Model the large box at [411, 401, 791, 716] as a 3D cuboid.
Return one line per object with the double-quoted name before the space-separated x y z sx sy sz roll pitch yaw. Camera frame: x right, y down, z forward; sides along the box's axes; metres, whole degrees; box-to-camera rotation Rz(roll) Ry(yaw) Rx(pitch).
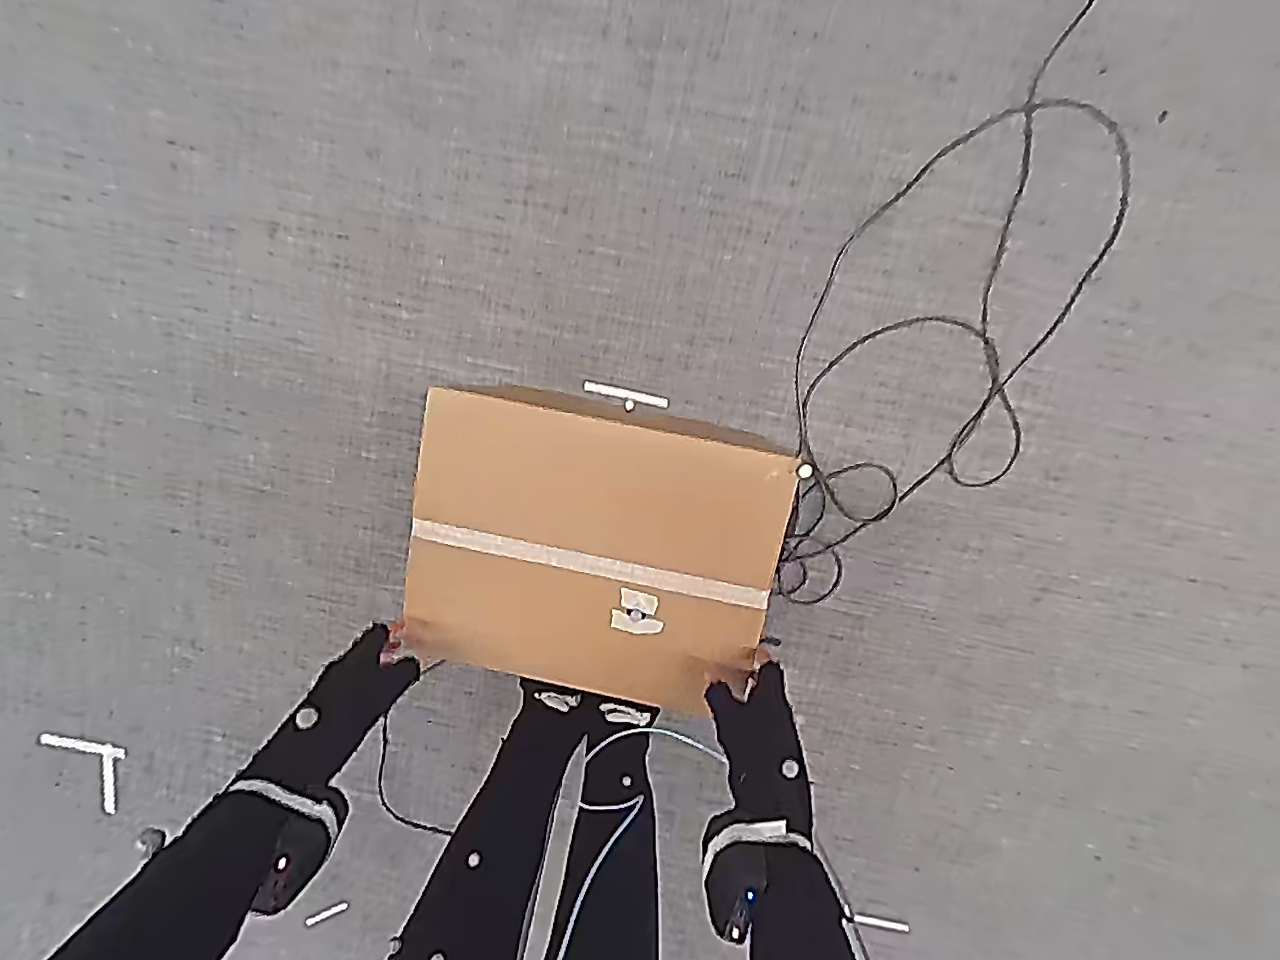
"large box" -0.048 0.071 0.761 0.408 0.320 0.320 11 101 2
